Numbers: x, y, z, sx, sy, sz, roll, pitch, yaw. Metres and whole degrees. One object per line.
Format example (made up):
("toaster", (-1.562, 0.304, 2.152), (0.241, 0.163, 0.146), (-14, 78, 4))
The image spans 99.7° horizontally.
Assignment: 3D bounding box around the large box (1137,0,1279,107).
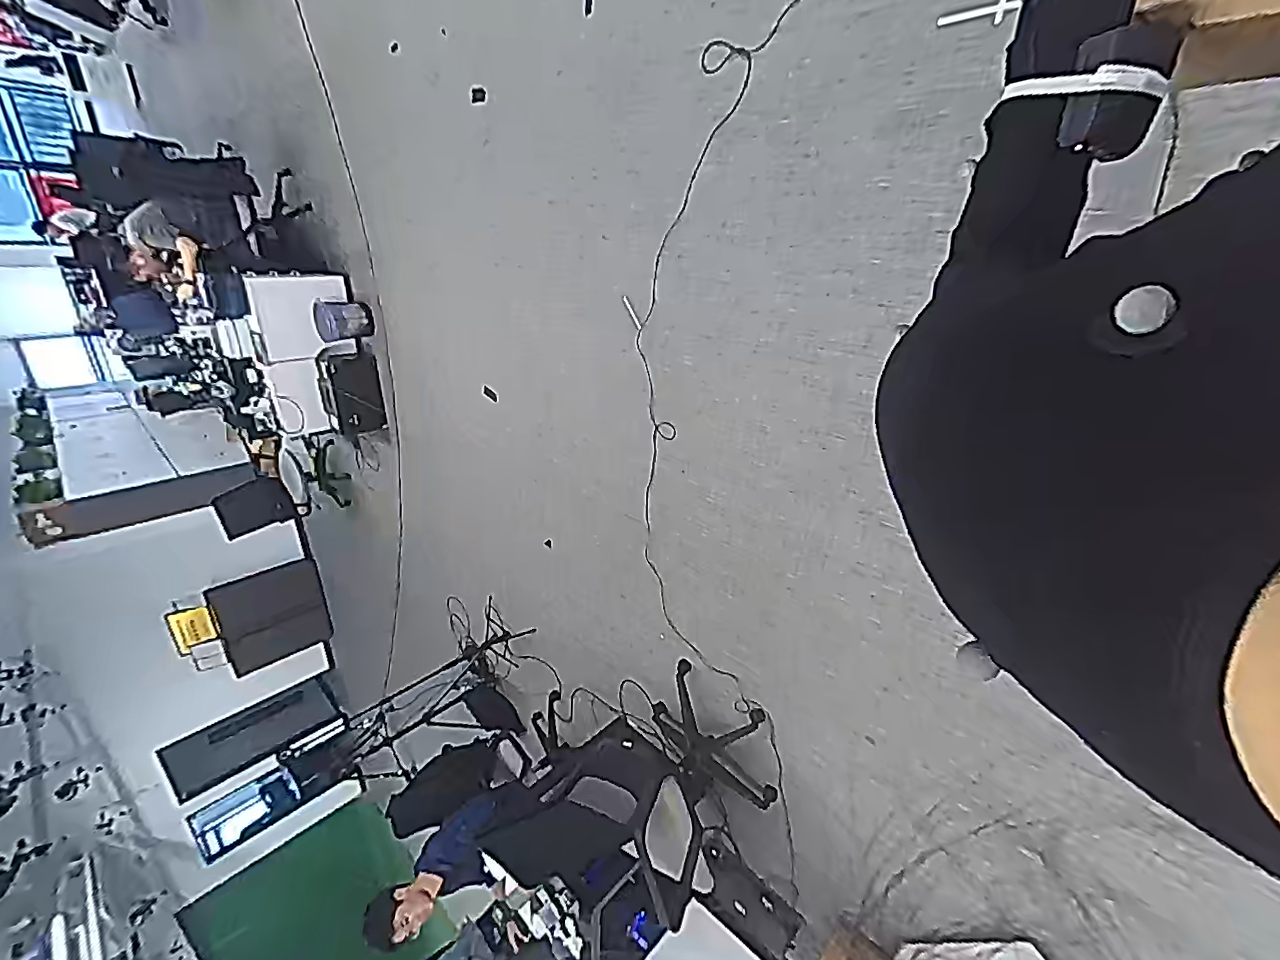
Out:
("large box", (0.558, -0.412, 0.262), (0.408, 0.320, 0.320), (20, 125, 39))
